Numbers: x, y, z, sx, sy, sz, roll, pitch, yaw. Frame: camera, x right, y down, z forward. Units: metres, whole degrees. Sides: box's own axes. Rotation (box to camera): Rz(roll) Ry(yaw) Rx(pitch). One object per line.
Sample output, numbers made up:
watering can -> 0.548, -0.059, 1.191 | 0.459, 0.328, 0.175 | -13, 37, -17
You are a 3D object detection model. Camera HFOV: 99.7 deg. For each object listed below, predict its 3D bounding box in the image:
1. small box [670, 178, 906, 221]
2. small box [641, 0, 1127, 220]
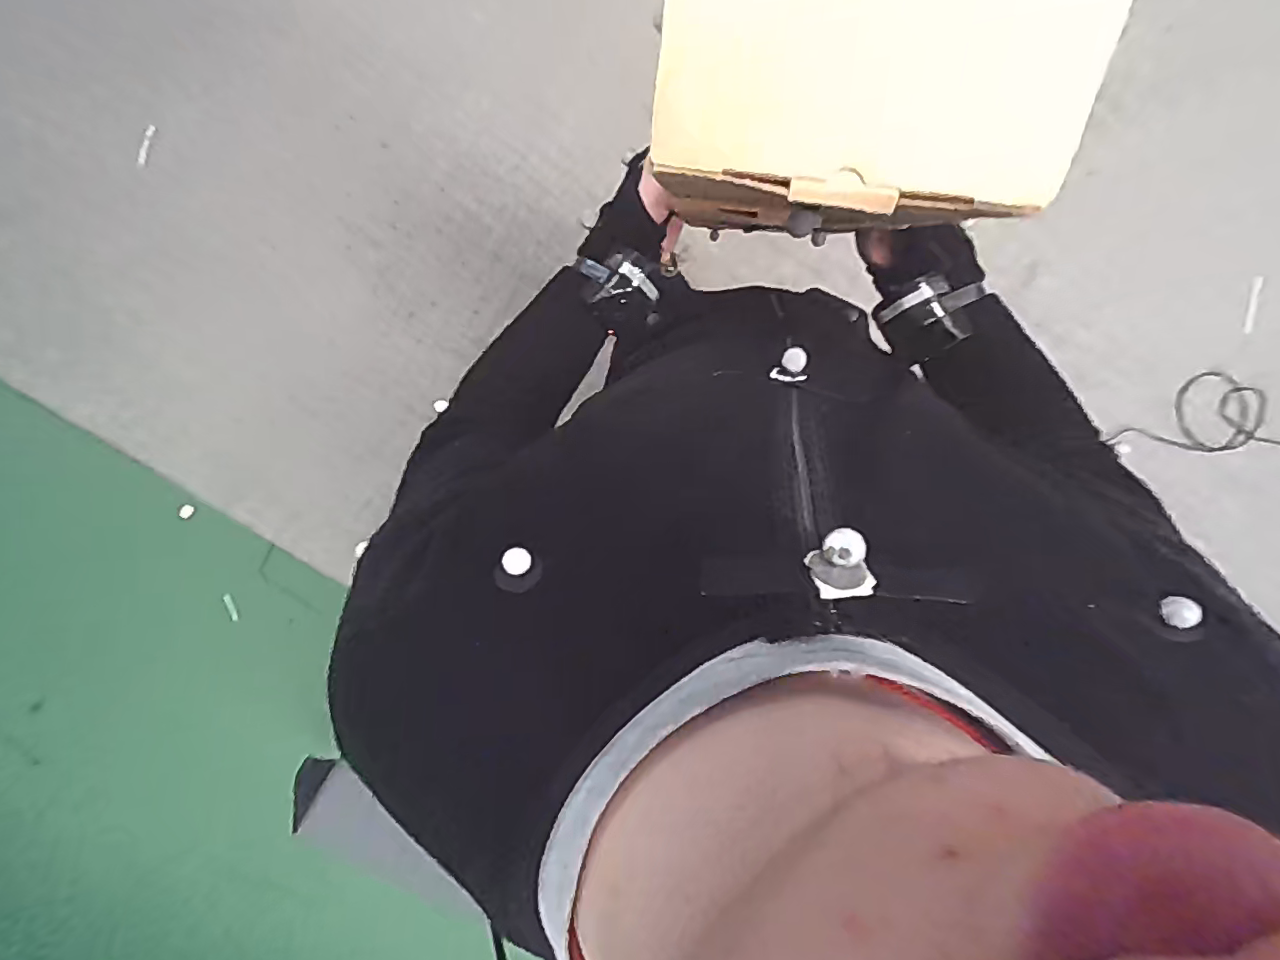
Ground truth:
small box -> 0.116, -0.296, 0.404 | 0.168, 0.176, 0.179 | 6, 115, 4
small box -> 0.100, -0.230, 0.254 | 0.168, 0.176, 0.179 | 9, 117, 2
